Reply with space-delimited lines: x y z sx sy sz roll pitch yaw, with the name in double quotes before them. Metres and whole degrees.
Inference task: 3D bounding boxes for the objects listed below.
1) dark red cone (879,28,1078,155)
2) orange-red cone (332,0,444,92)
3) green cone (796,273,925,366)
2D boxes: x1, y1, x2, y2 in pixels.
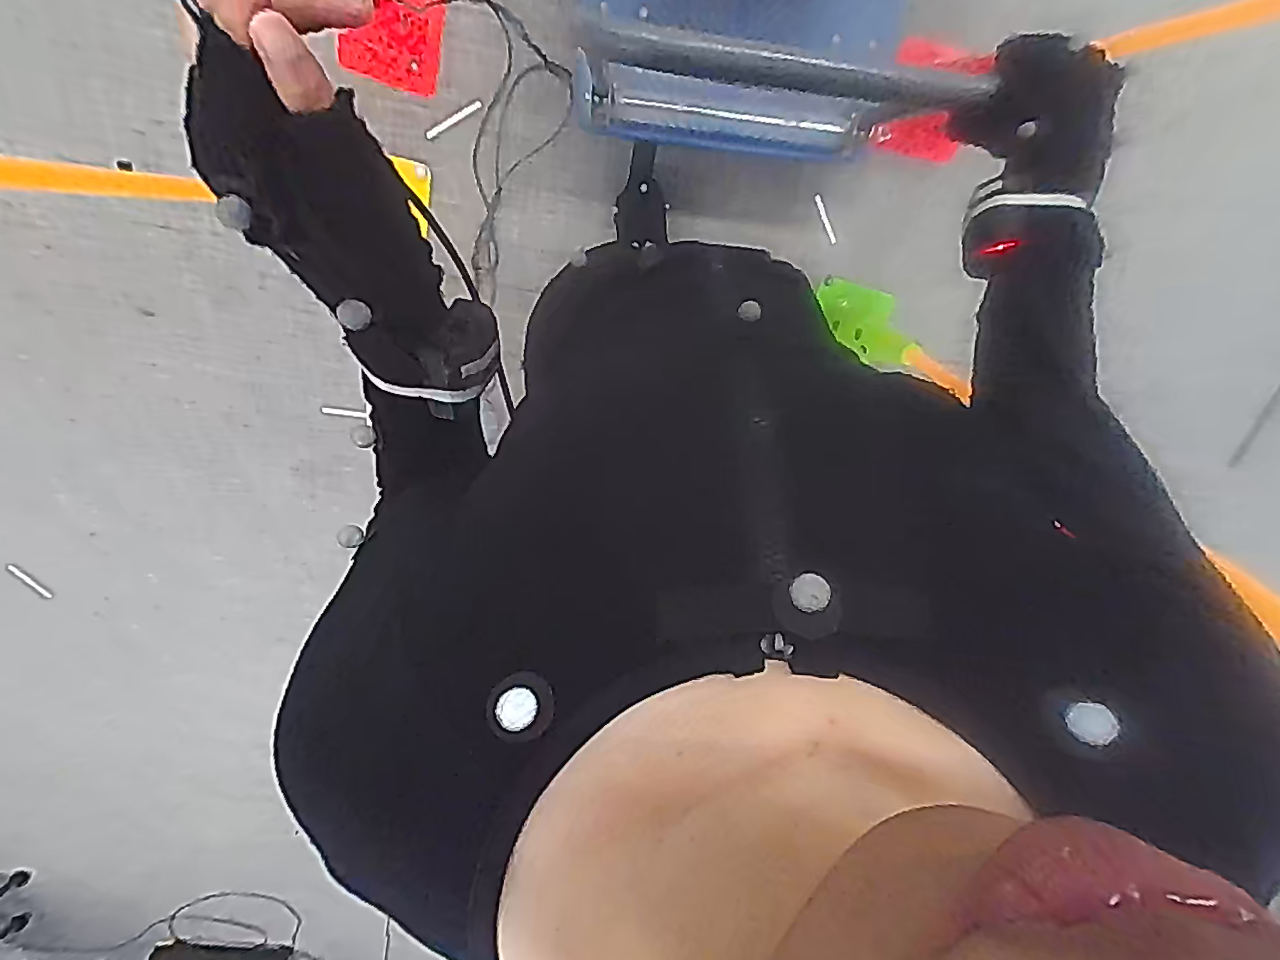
"dark red cone" 0.633 -0.746 0.997 0.201 0.394 0.202 8 116 -8
"orange-red cone" -0.494 -0.846 0.925 0.198 0.360 0.199 15 113 -10
"green cone" 0.523 -0.326 1.215 0.202 0.368 0.200 12 115 -9
